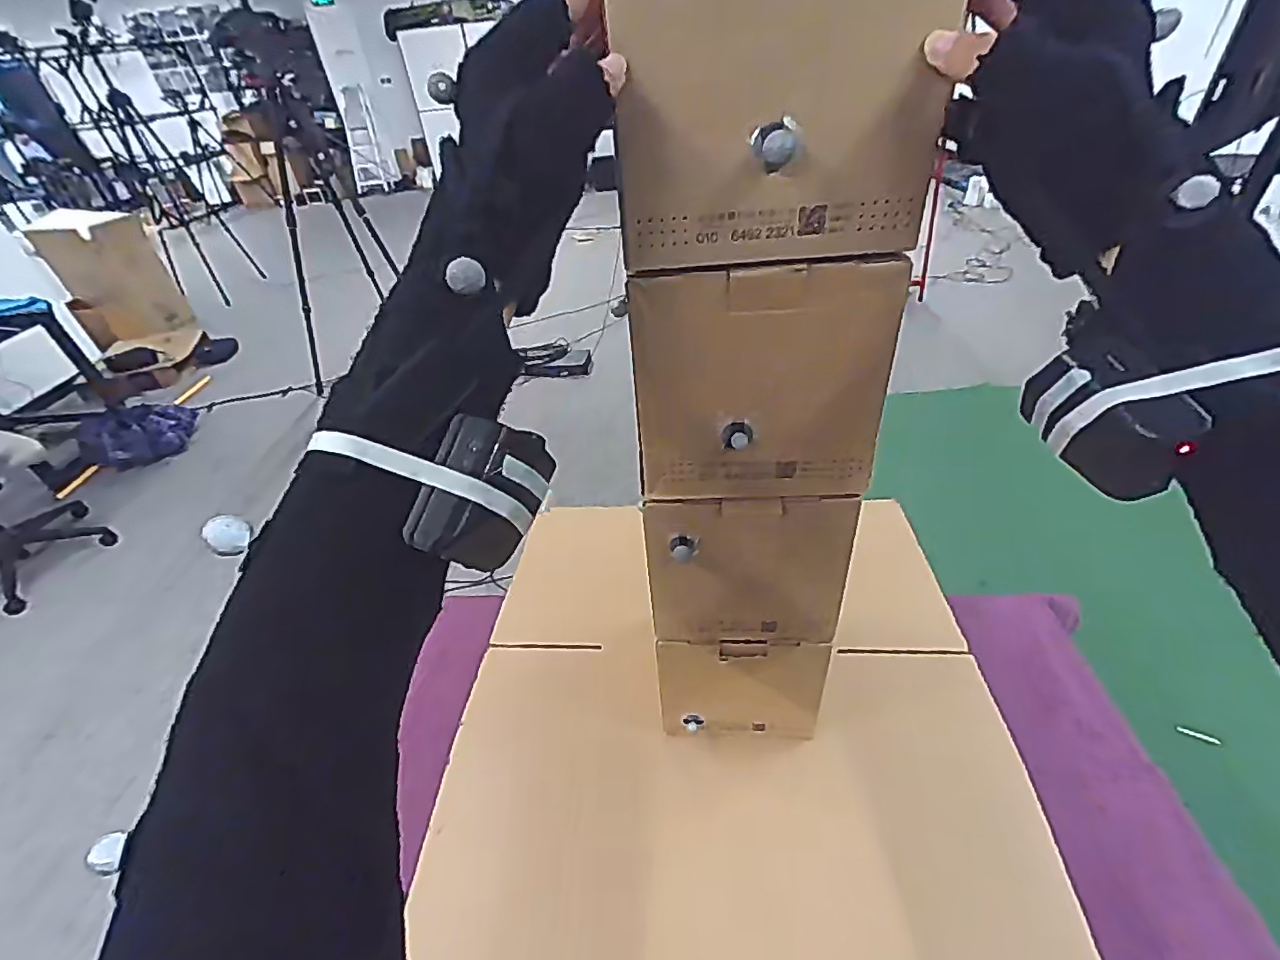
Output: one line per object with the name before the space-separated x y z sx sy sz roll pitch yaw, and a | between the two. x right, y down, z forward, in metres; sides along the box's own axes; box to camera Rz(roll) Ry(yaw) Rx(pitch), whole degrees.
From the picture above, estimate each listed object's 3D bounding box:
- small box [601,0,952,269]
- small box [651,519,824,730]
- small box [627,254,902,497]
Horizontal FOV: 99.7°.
small box | 0.065 -0.239 0.338 0.168 0.176 0.179 -4 34 3
small box | 0.106 0.165 0.621 0.168 0.176 0.179 -1 36 6
small box | 0.081 -0.103 0.434 0.168 0.176 0.179 -2 36 4
